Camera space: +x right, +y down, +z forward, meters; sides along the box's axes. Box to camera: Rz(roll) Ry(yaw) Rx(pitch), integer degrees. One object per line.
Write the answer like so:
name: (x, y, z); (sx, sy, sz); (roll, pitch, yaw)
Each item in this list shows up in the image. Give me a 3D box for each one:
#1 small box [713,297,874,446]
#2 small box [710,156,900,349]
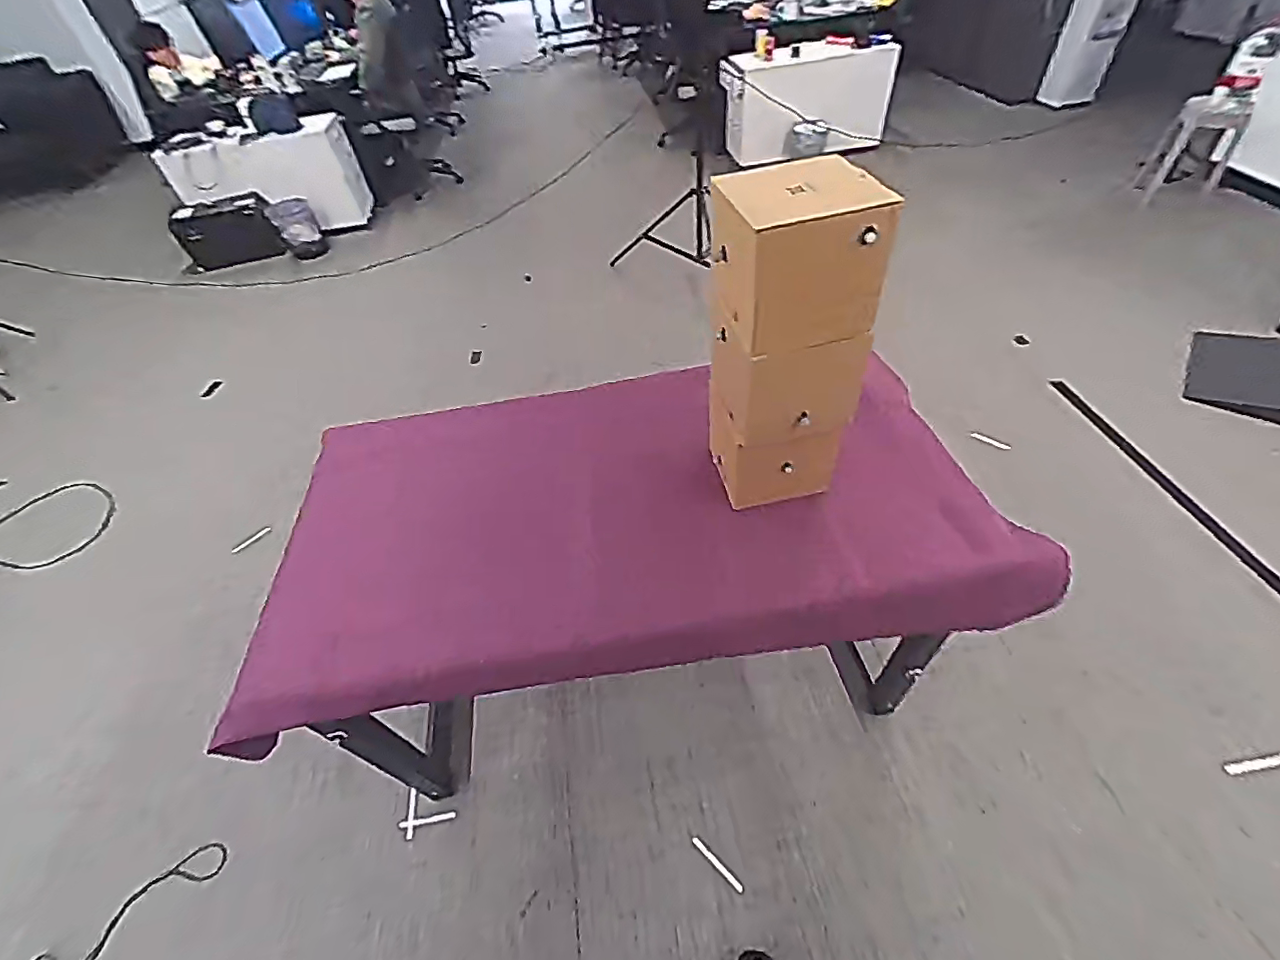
small box: (0.216, -0.177, 0.818); (0.179, 0.176, 0.168); (-13, 48, -5)
small box: (0.198, -0.291, 0.702); (0.179, 0.176, 0.168); (-13, 48, -5)
